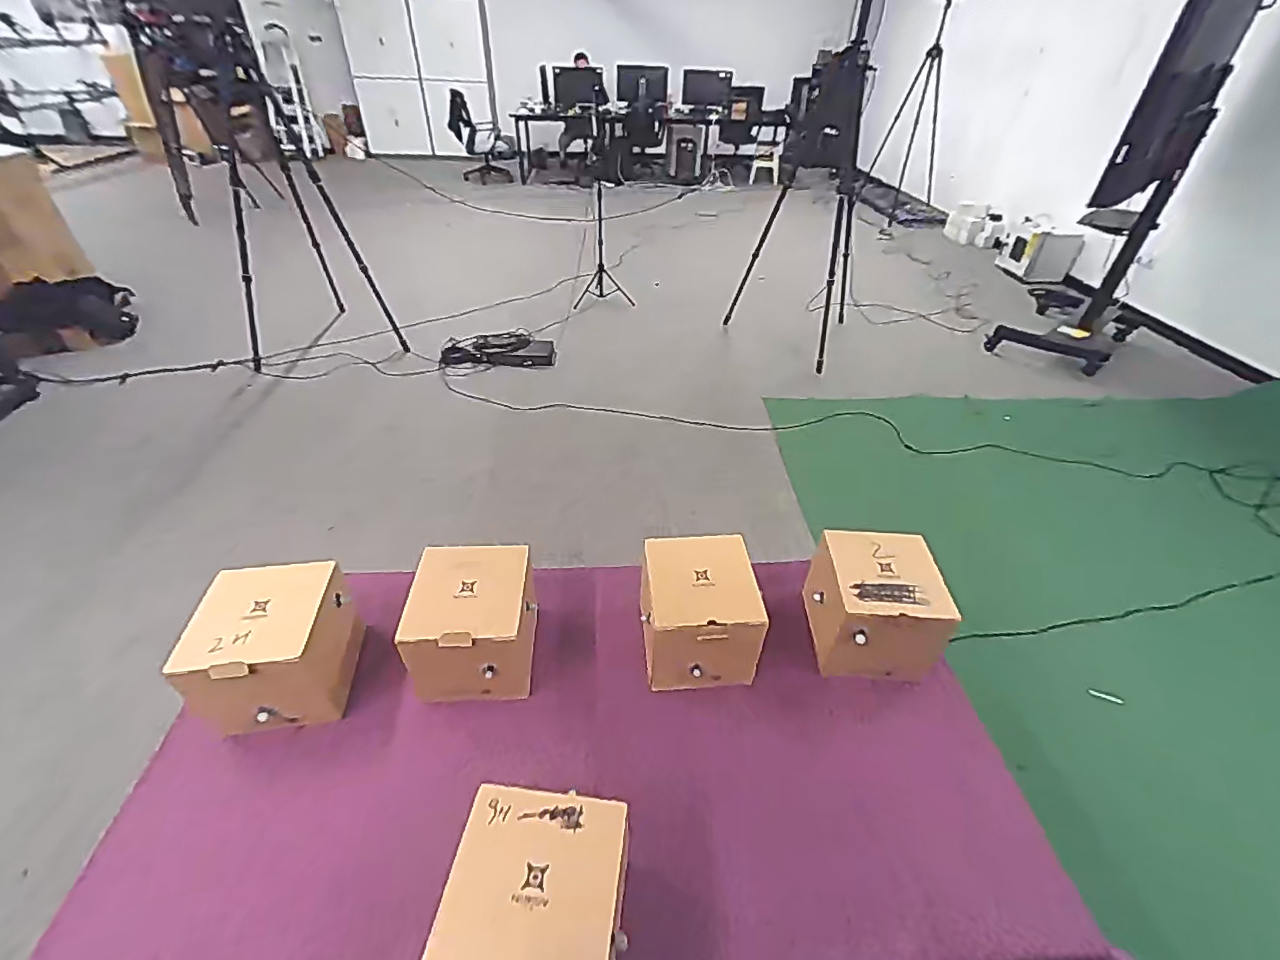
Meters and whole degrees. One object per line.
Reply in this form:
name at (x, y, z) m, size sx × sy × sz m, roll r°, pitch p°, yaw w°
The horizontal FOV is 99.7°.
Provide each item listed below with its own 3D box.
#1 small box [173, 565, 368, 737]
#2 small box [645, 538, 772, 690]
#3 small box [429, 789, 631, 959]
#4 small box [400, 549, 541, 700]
small box at (-0.528, 0.253, 0.809) m, size 0.168 × 0.176 × 0.179 m, roll -5°, pitch 40°, yaw -7°
small box at (0.098, 0.214, 0.875) m, size 0.168 × 0.176 × 0.179 m, roll -2°, pitch 40°, yaw -4°
small box at (-0.100, 0.459, 0.566) m, size 0.168 × 0.176 × 0.179 m, roll 5°, pitch 39°, yaw 4°
small box at (-0.250, 0.229, 0.848) m, size 0.168 × 0.176 × 0.179 m, roll 0°, pitch 39°, yaw -4°
